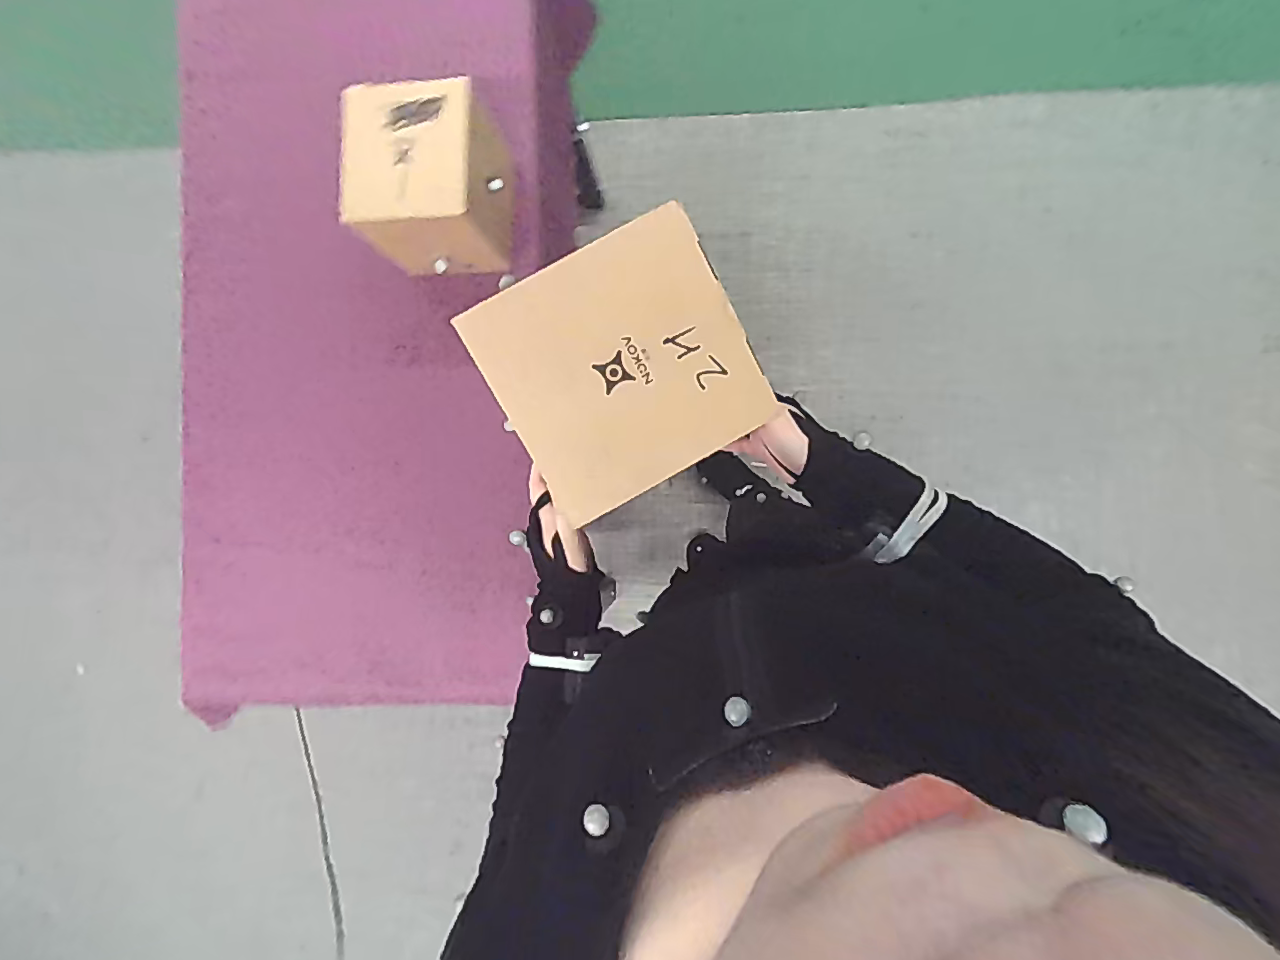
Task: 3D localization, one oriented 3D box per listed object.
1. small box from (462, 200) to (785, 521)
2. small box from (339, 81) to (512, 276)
[{"bbox_3d":[-0.015,-0.088,0.449,0.179,0.176,0.168,-28,101,-2],"label":"small box"},{"bbox_3d":[-0.286,-0.405,0.752,0.168,0.176,0.179,0,89,7],"label":"small box"}]
